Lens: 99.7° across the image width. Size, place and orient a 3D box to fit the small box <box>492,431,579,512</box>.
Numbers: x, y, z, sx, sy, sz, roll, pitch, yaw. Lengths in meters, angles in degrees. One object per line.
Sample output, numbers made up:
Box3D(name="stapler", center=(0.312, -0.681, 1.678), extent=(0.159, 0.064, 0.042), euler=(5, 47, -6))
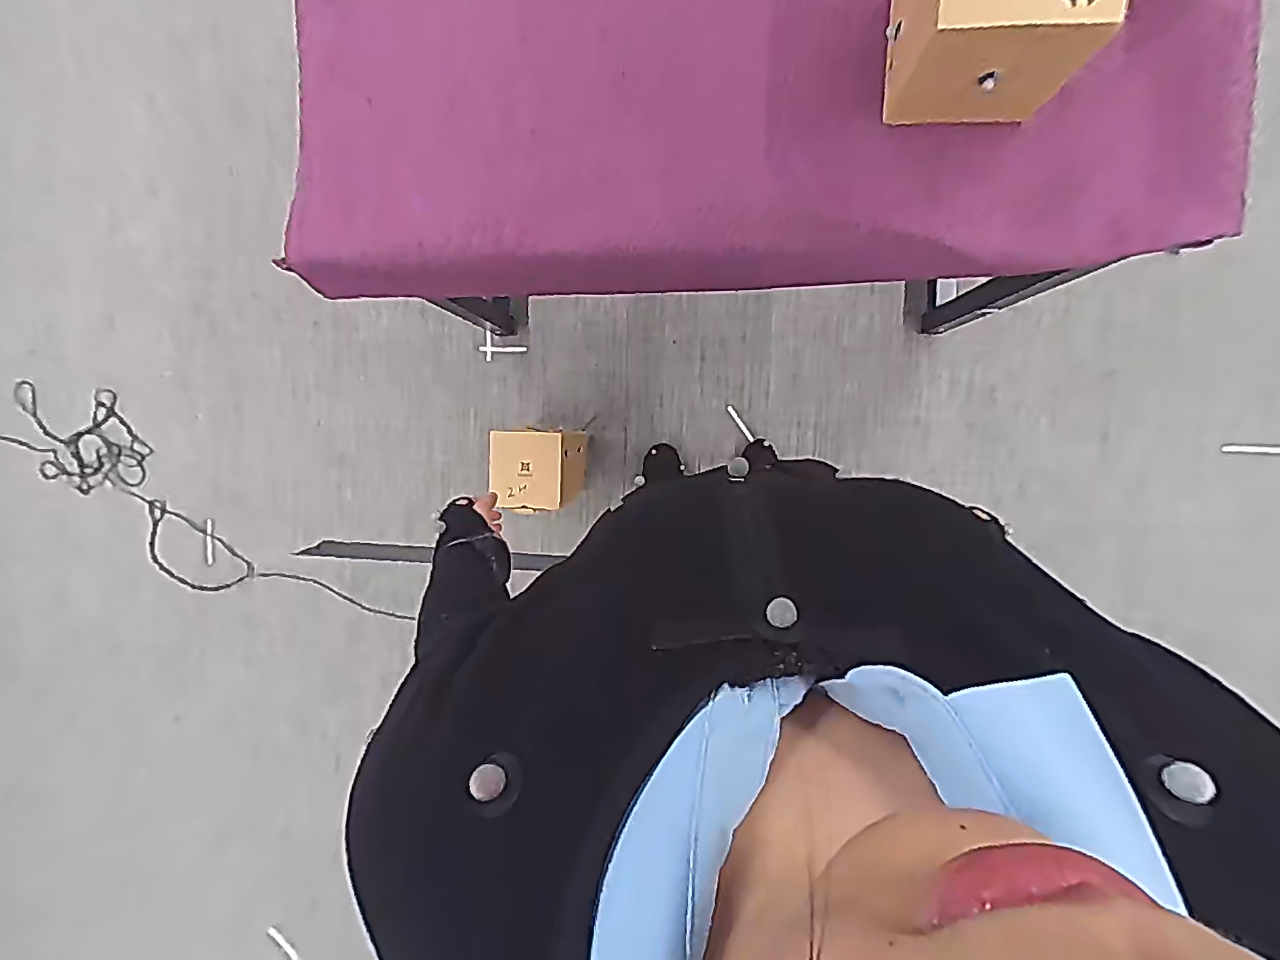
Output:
Box3D(name="small box", center=(-0.242, -0.024, 1.281), extent=(0.168, 0.176, 0.179), euler=(2, 95, 5))

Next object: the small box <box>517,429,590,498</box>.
Box3D(name="small box", center=(-0.235, -0.041, 1.446), extent=(0.168, 0.176, 0.179), euler=(8, 95, 4))
